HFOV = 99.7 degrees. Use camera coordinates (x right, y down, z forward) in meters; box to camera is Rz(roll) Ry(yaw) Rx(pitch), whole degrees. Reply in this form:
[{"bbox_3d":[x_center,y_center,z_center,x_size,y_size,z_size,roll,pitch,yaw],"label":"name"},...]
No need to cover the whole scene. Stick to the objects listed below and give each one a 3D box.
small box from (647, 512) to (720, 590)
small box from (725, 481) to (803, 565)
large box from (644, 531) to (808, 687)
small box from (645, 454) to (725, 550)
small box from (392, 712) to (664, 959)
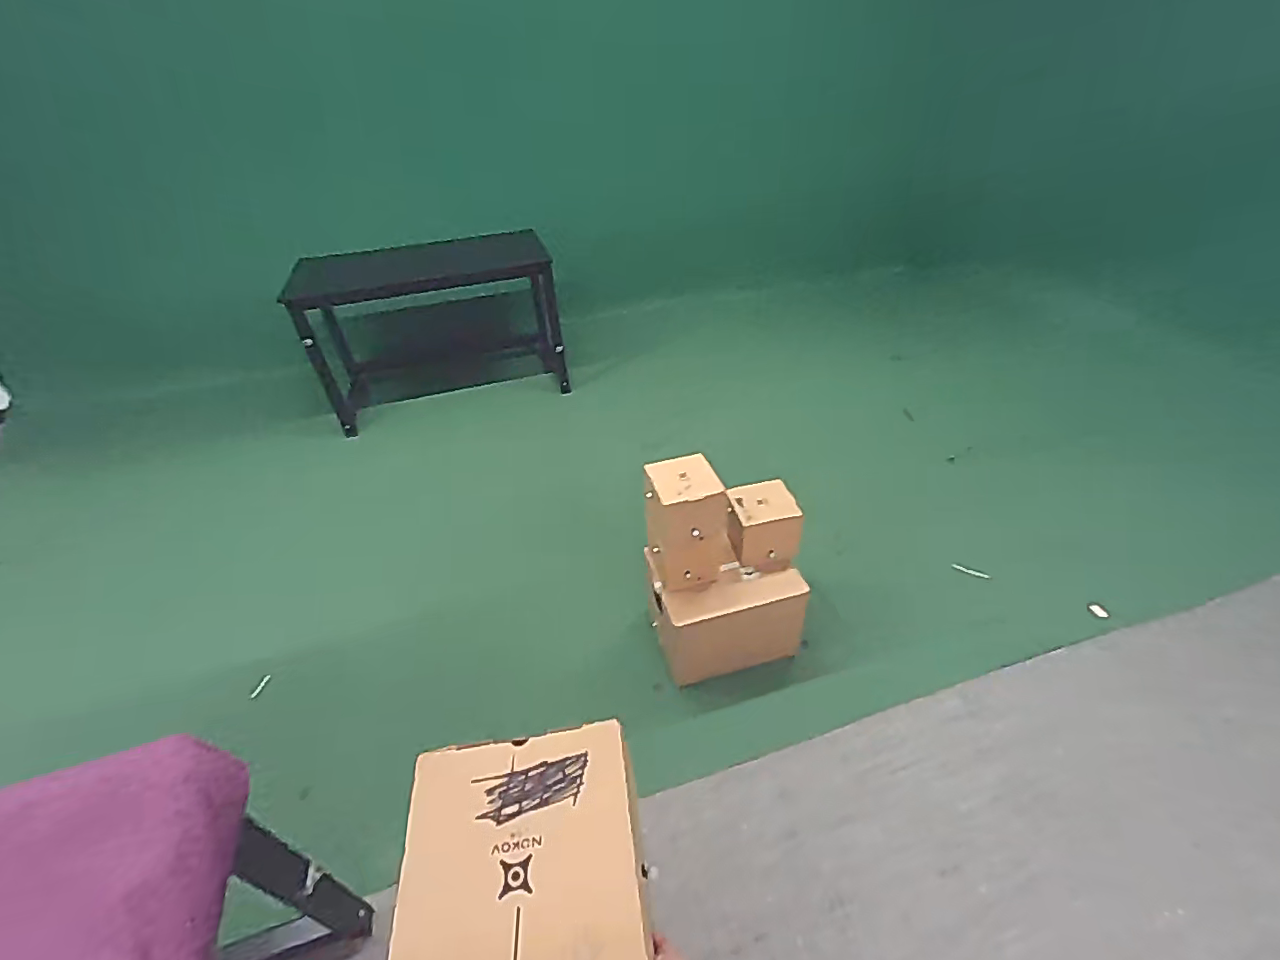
[{"bbox_3d":[0.119,0.185,1.544,0.168,0.176,0.179,-12,39,-10],"label":"small box"},{"bbox_3d":[0.357,0.127,1.590,0.179,0.176,0.168,-9,38,-6],"label":"small box"},{"bbox_3d":[0.248,0.381,1.676,0.408,0.320,0.320,-12,40,-11],"label":"large box"},{"bbox_3d":[0.114,0.057,1.440,0.168,0.176,0.179,-13,40,-11],"label":"small box"},{"bbox_3d":[-0.074,0.315,0.427,0.168,0.176,0.179,-9,43,-3],"label":"small box"}]
